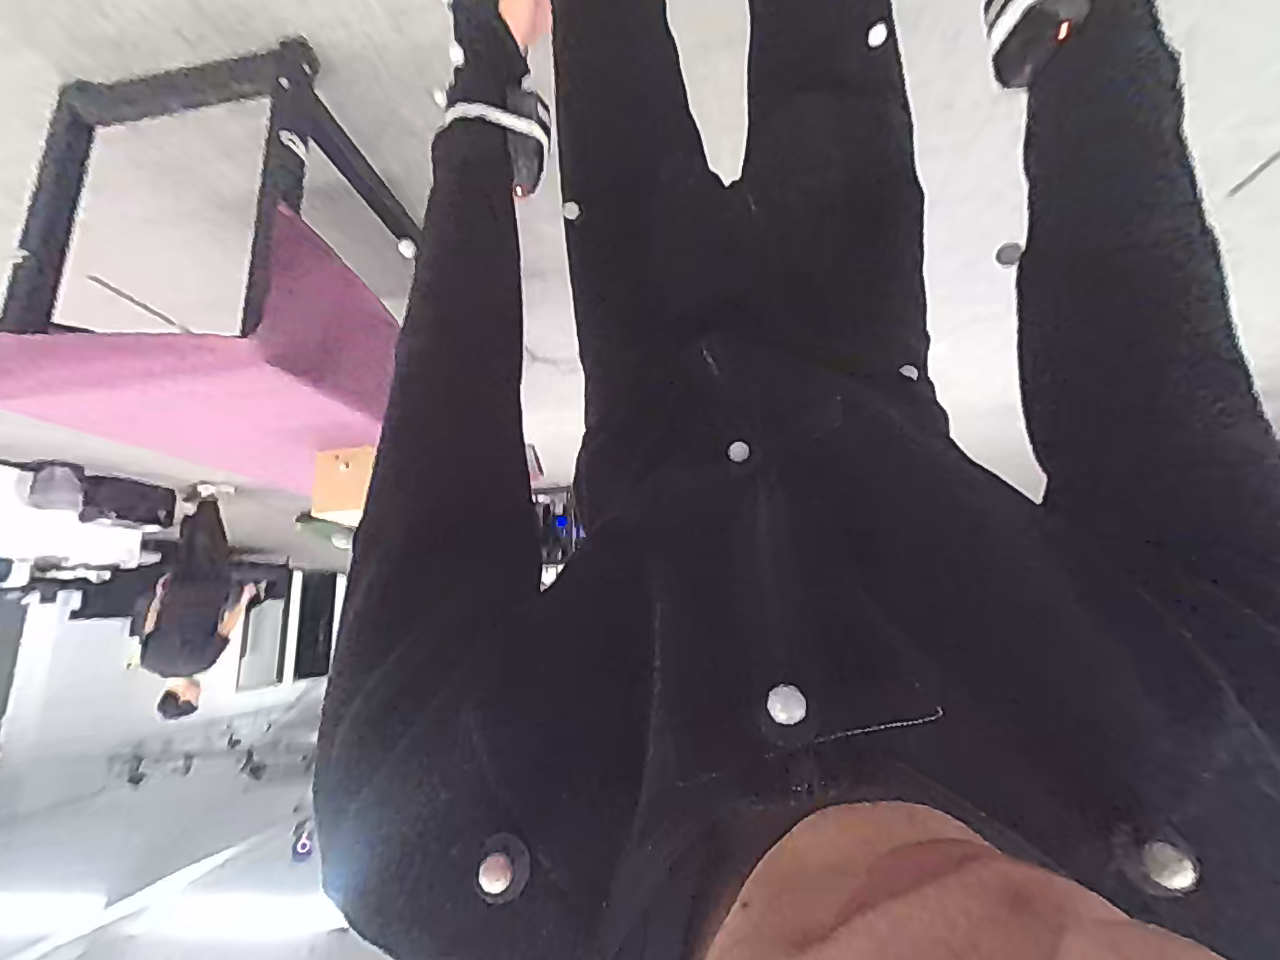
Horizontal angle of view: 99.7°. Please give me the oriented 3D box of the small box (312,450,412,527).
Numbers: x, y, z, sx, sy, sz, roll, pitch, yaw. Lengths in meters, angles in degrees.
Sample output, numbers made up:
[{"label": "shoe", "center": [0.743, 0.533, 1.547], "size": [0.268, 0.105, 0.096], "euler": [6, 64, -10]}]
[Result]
[{"label": "small box", "center": [-0.725, 0.025, 1.429], "size": [0.168, 0.176, 0.179], "euler": [-6, 165, 10]}]
